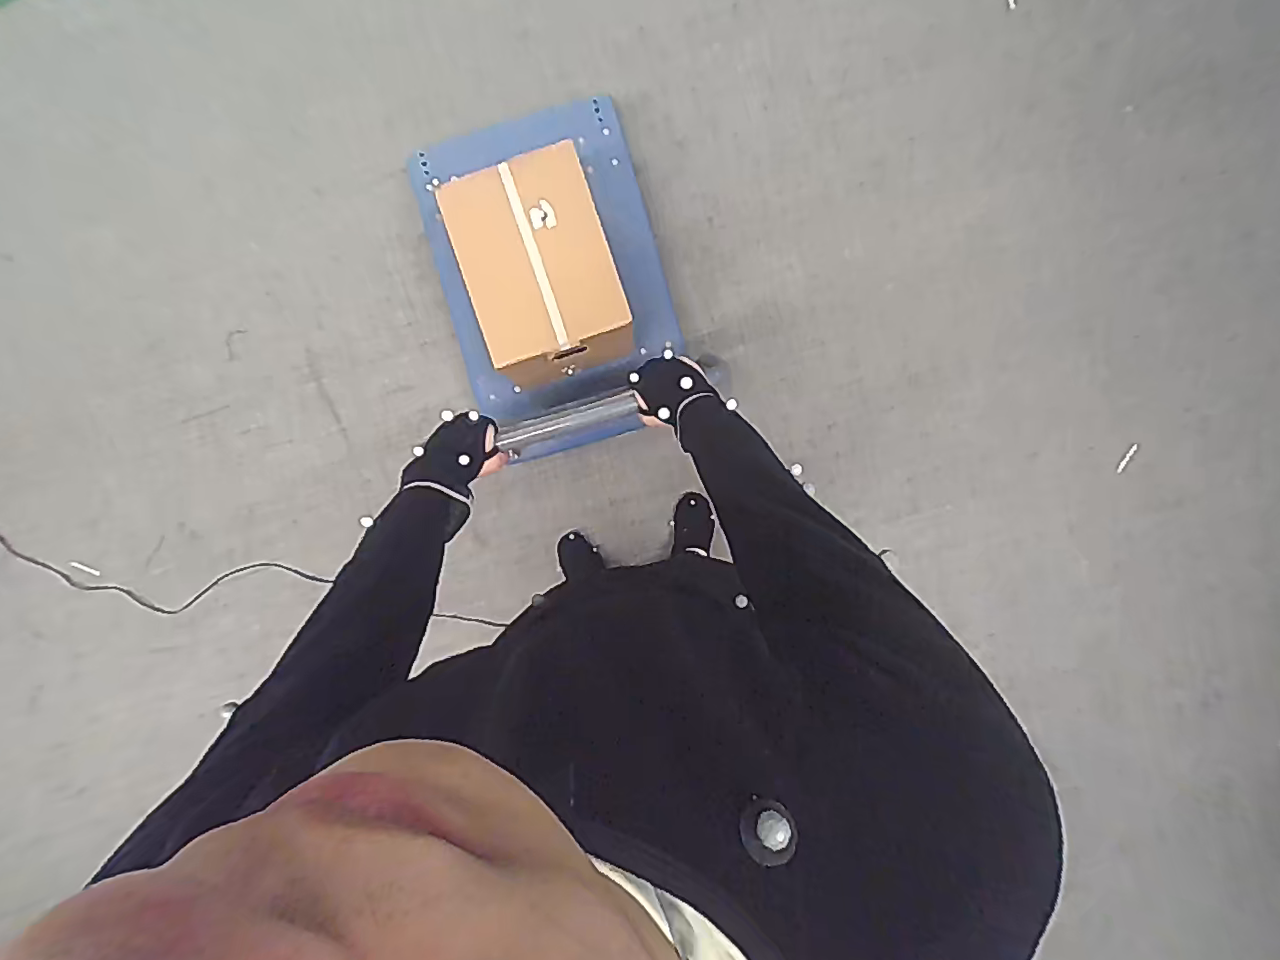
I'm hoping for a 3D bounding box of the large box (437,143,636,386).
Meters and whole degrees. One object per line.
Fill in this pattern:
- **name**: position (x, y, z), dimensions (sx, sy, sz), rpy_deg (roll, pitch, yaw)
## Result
- **large box**: position (-0.221, -0.482, 1.297), dimensions (0.320, 0.320, 0.408), rpy_deg (-19, 91, 1)
